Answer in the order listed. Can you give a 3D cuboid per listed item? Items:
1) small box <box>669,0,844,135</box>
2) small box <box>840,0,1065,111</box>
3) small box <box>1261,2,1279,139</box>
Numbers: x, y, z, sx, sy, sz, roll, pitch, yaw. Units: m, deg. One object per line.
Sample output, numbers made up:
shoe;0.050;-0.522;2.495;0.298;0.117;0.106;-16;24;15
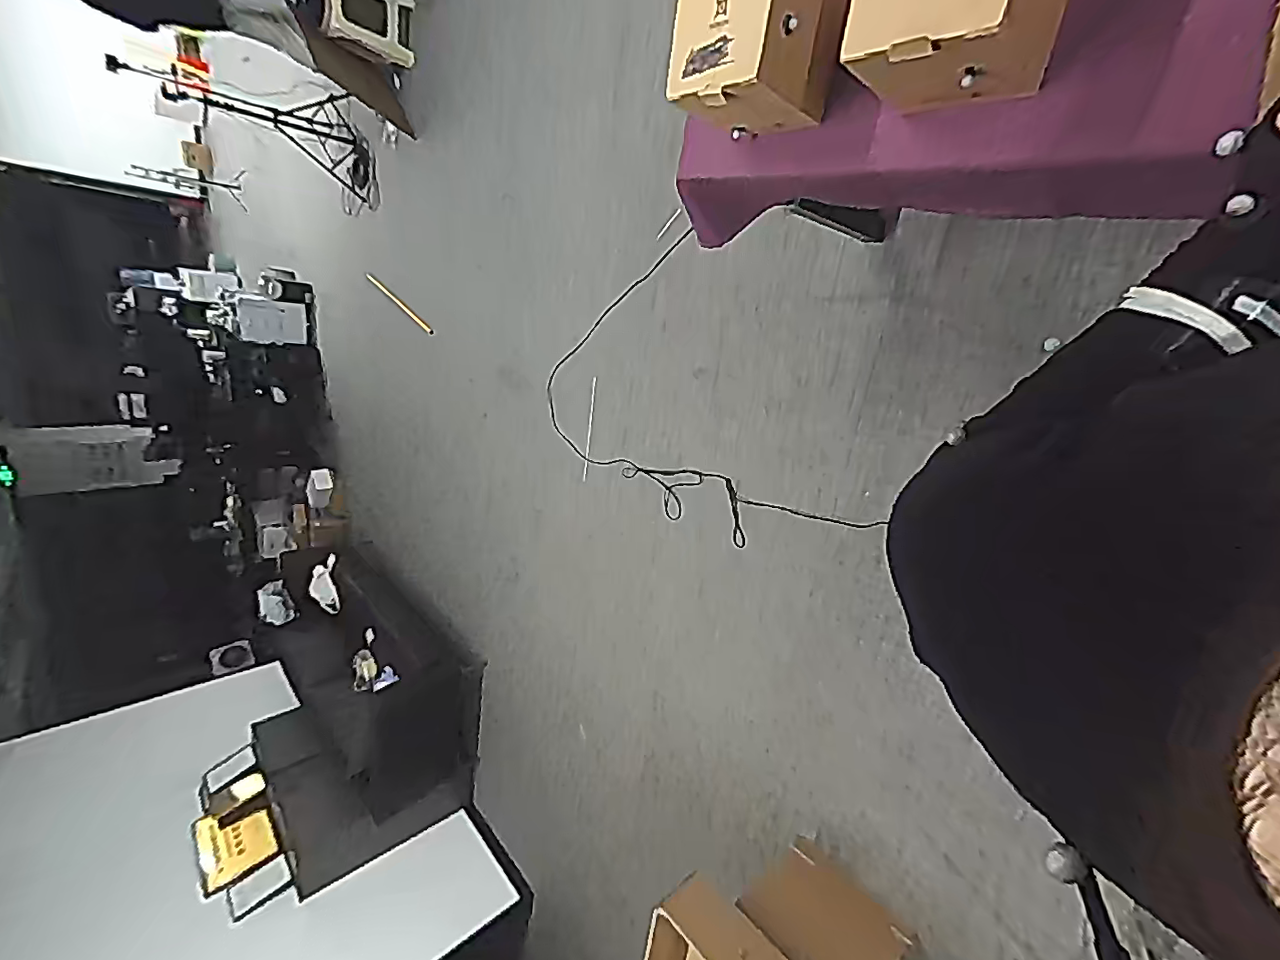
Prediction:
small box;0.168;-0.621;0.778;0.168;0.176;0.179;24;112;41
small box;0.355;-0.534;0.597;0.168;0.176;0.179;26;114;41
small box;0.565;-0.343;0.346;0.168;0.176;0.179;41;116;38
